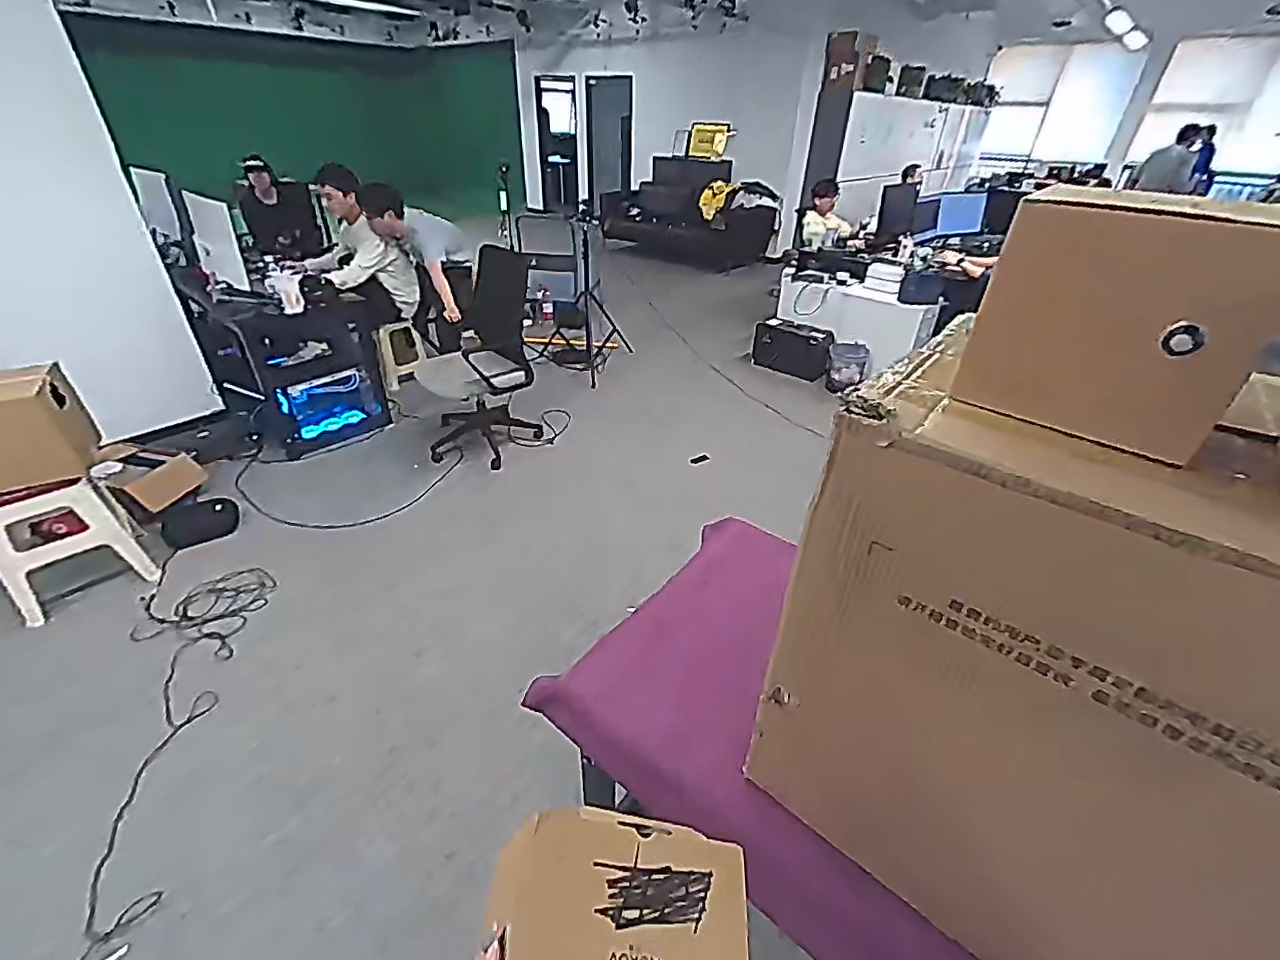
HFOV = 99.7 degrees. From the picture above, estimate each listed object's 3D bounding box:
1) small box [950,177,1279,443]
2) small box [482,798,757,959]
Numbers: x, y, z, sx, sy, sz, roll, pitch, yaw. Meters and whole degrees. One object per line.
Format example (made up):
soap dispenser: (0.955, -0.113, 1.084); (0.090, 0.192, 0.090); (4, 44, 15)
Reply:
small box: (0.401, -0.148, 0.457); (0.179, 0.176, 0.168); (27, 40, 32)
small box: (-0.027, 0.366, 0.397); (0.168, 0.176, 0.179); (17, 42, -11)
